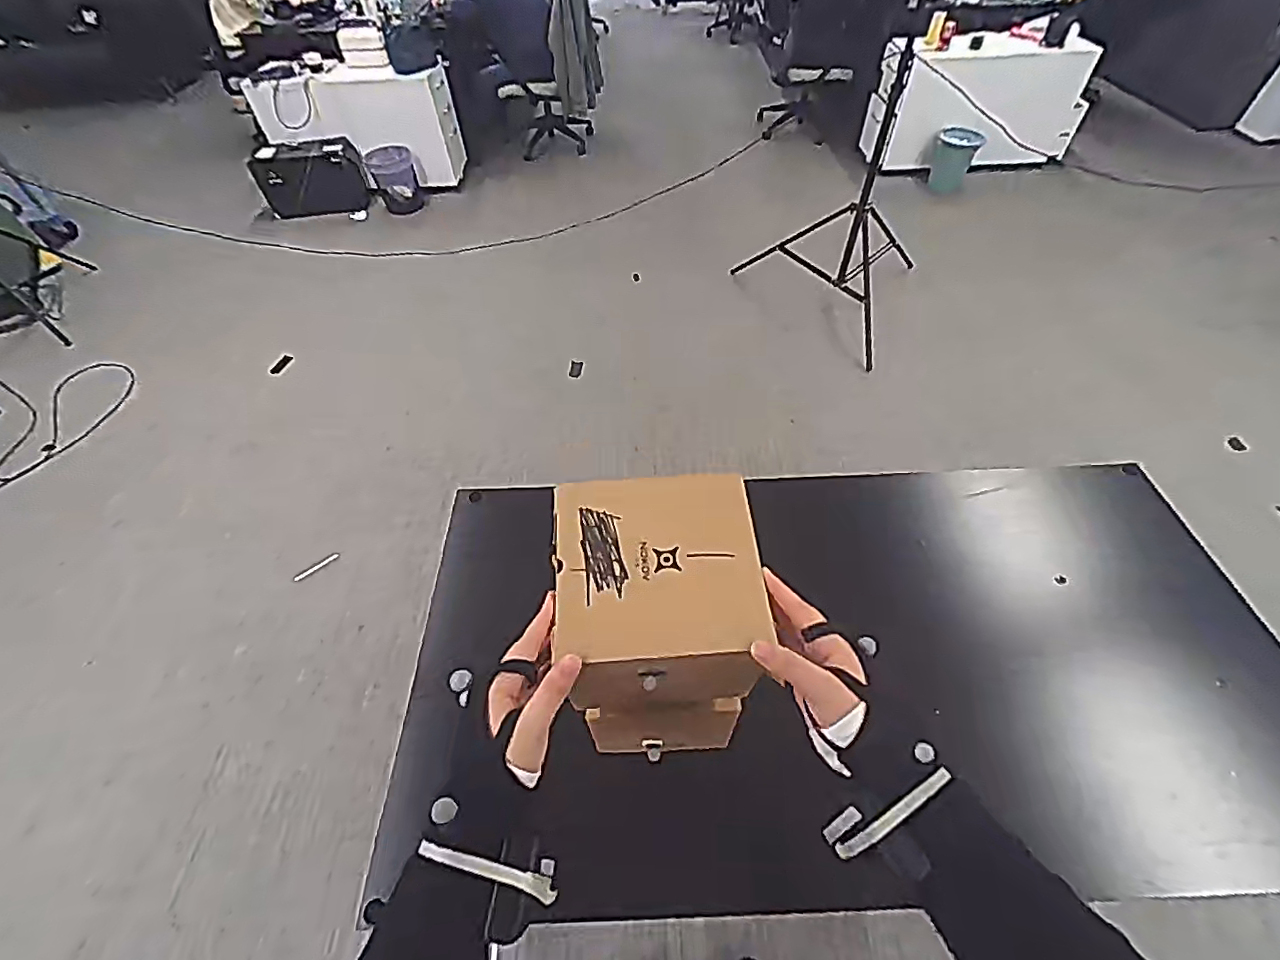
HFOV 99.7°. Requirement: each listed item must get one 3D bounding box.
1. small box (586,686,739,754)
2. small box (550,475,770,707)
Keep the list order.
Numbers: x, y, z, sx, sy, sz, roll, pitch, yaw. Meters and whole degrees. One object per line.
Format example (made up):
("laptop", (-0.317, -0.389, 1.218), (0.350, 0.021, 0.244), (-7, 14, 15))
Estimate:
("small box", (0.023, 0.228, 0.683), (0.168, 0.176, 0.179), (-5, 52, 0))
("small box", (0.012, 0.114, 0.528), (0.179, 0.176, 0.168), (-4, 56, -2))
